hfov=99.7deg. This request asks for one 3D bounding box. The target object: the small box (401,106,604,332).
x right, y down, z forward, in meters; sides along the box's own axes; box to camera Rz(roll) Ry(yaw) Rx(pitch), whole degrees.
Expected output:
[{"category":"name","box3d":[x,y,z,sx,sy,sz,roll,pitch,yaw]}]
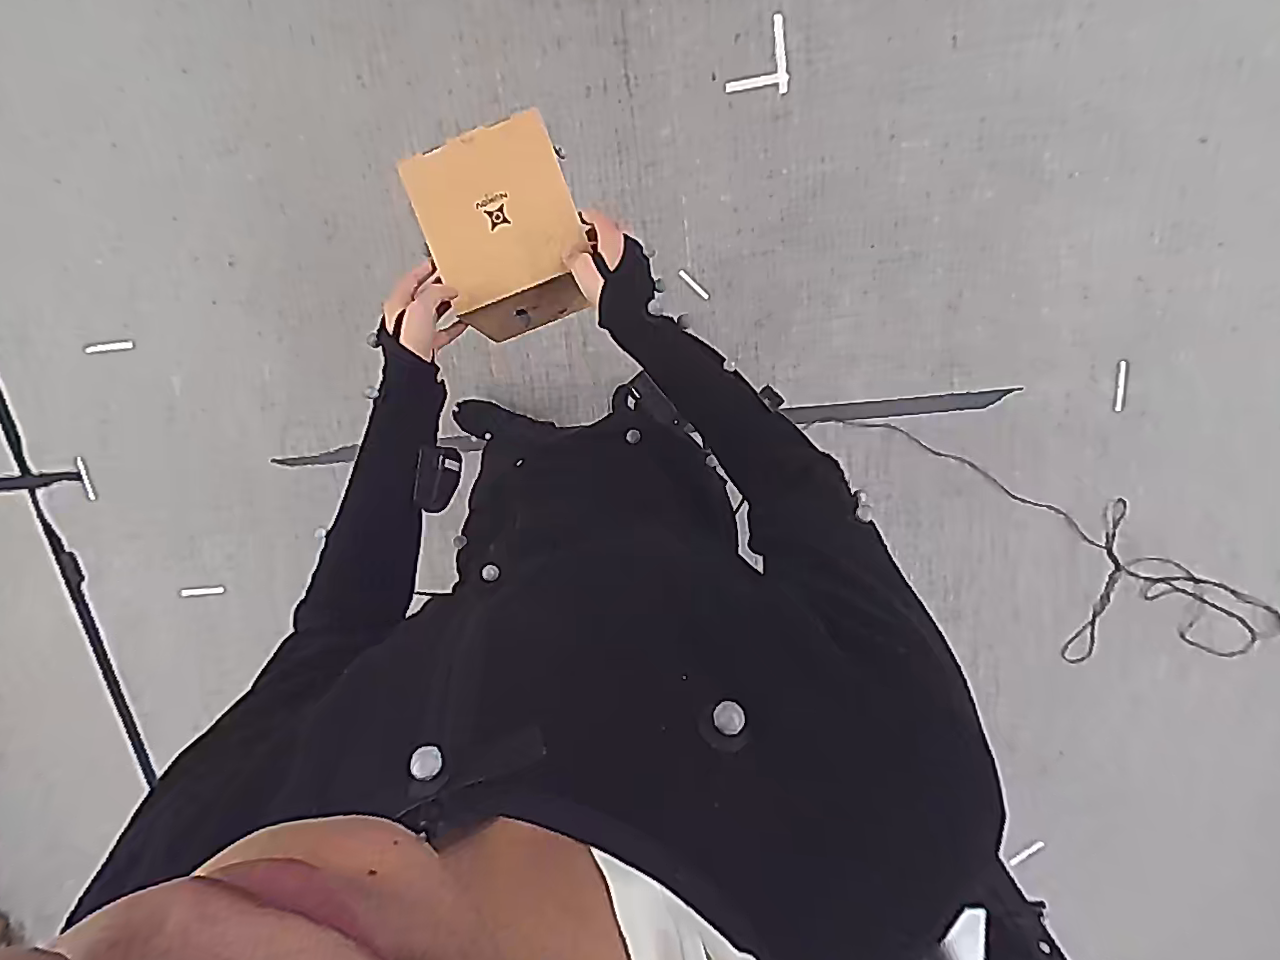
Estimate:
[{"category":"small box","box3d":[-0.149,-0.293,0.656,0.168,0.176,0.179,-20,93,1]}]
